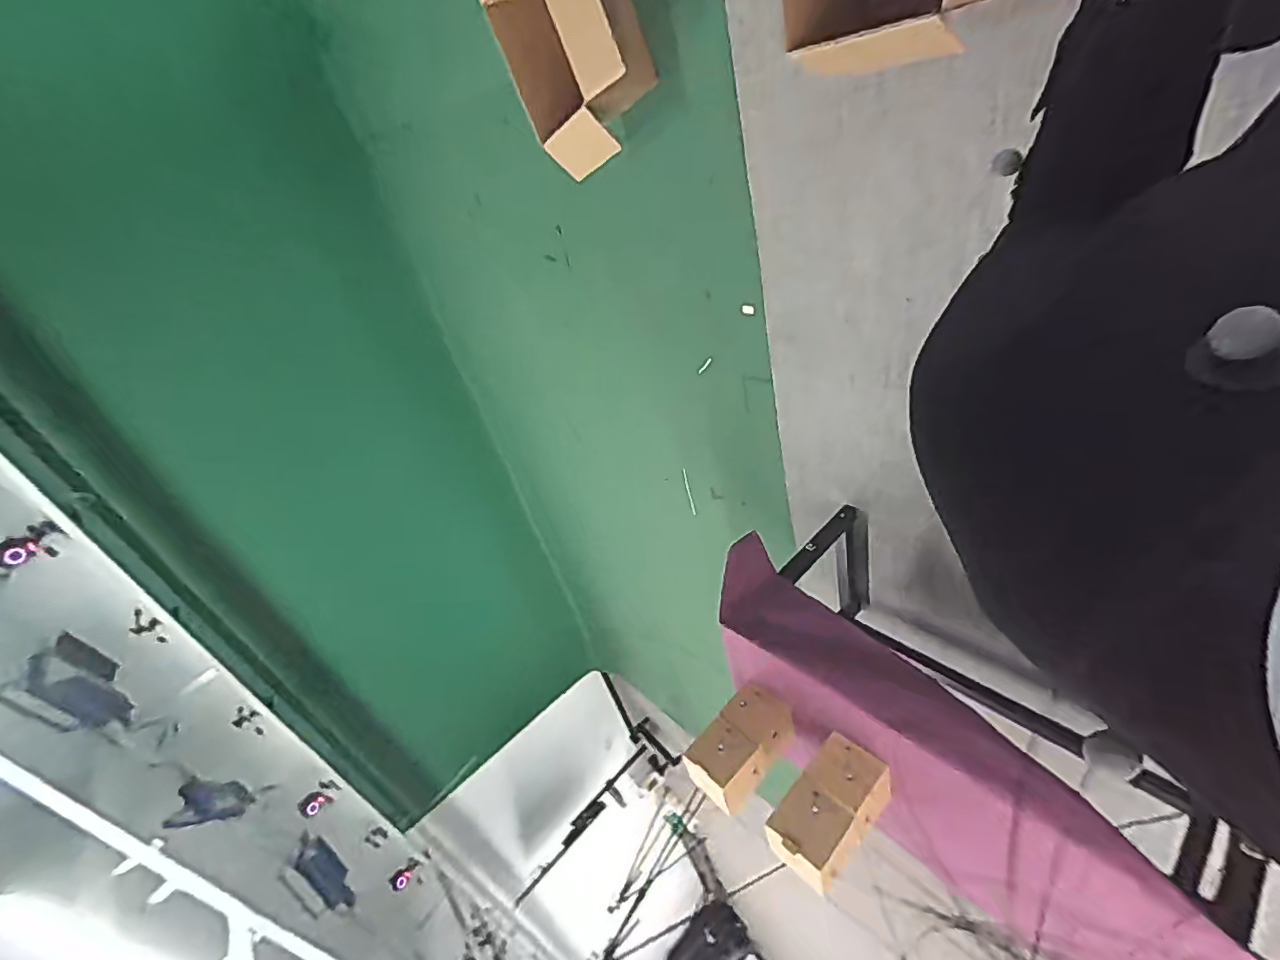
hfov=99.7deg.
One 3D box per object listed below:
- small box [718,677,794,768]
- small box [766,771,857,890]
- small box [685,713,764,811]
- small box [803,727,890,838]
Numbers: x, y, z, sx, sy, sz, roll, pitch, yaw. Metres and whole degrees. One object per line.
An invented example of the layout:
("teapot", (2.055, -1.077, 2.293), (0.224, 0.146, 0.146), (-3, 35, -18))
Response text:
("small box", (0.379, 0.777, 1.751), (0.168, 0.176, 0.179), (24, 141, 44))
("small box", (0.460, 0.924, 1.435), (0.168, 0.176, 0.179), (24, 141, 44))
("small box", (0.265, 0.864, 1.671), (0.168, 0.176, 0.179), (25, 140, 45))
("small box", (0.579, 0.833, 1.505), (0.168, 0.176, 0.179), (21, 139, 46))
